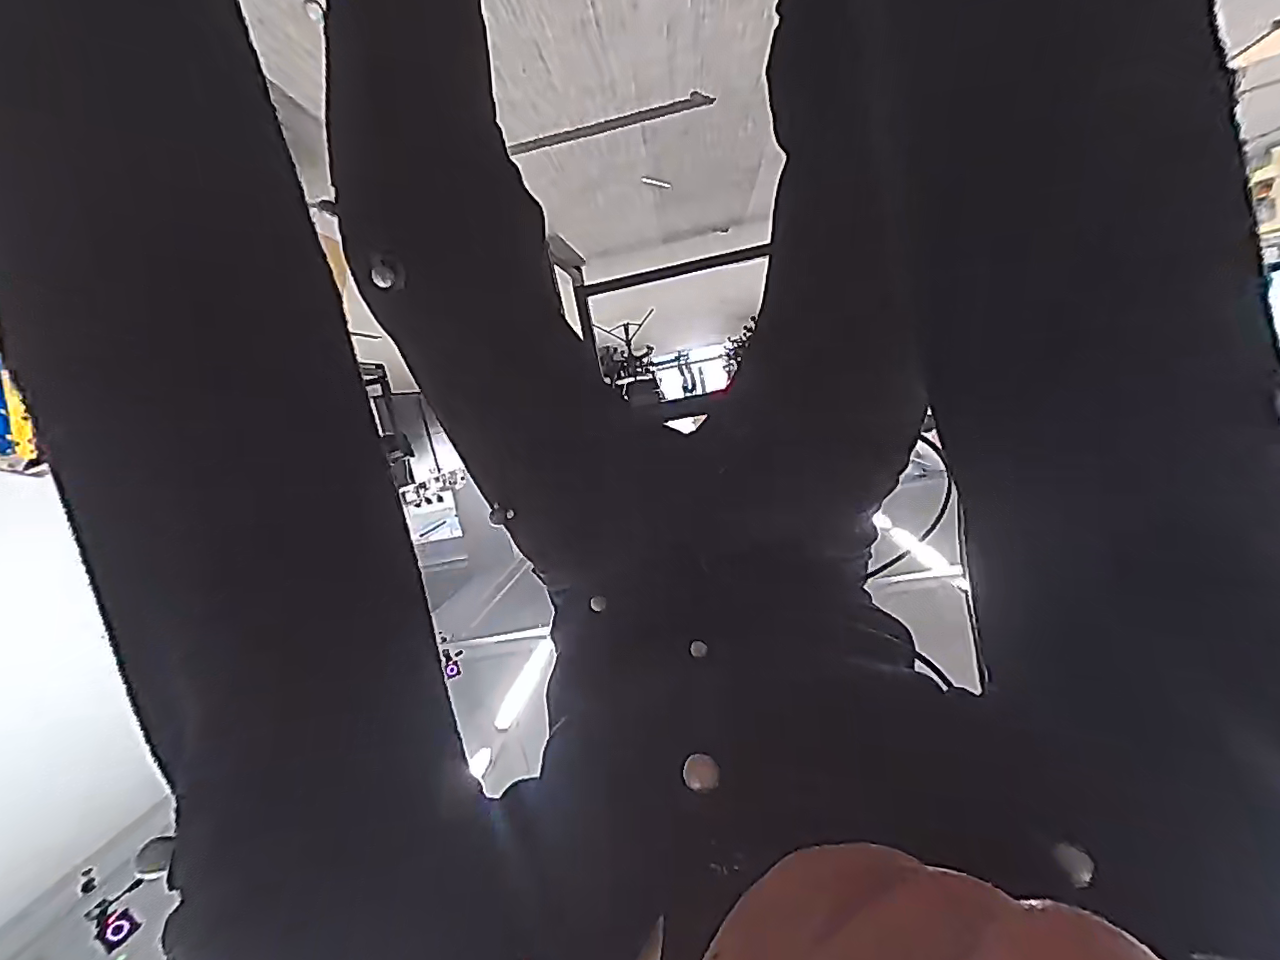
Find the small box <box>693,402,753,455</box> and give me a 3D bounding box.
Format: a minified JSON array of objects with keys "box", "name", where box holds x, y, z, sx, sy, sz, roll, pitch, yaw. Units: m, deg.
[{"box":[0.316,-0.202,2.100,0.179,0.176,0.168,-14,-170,-6],"name":"small box"}]
